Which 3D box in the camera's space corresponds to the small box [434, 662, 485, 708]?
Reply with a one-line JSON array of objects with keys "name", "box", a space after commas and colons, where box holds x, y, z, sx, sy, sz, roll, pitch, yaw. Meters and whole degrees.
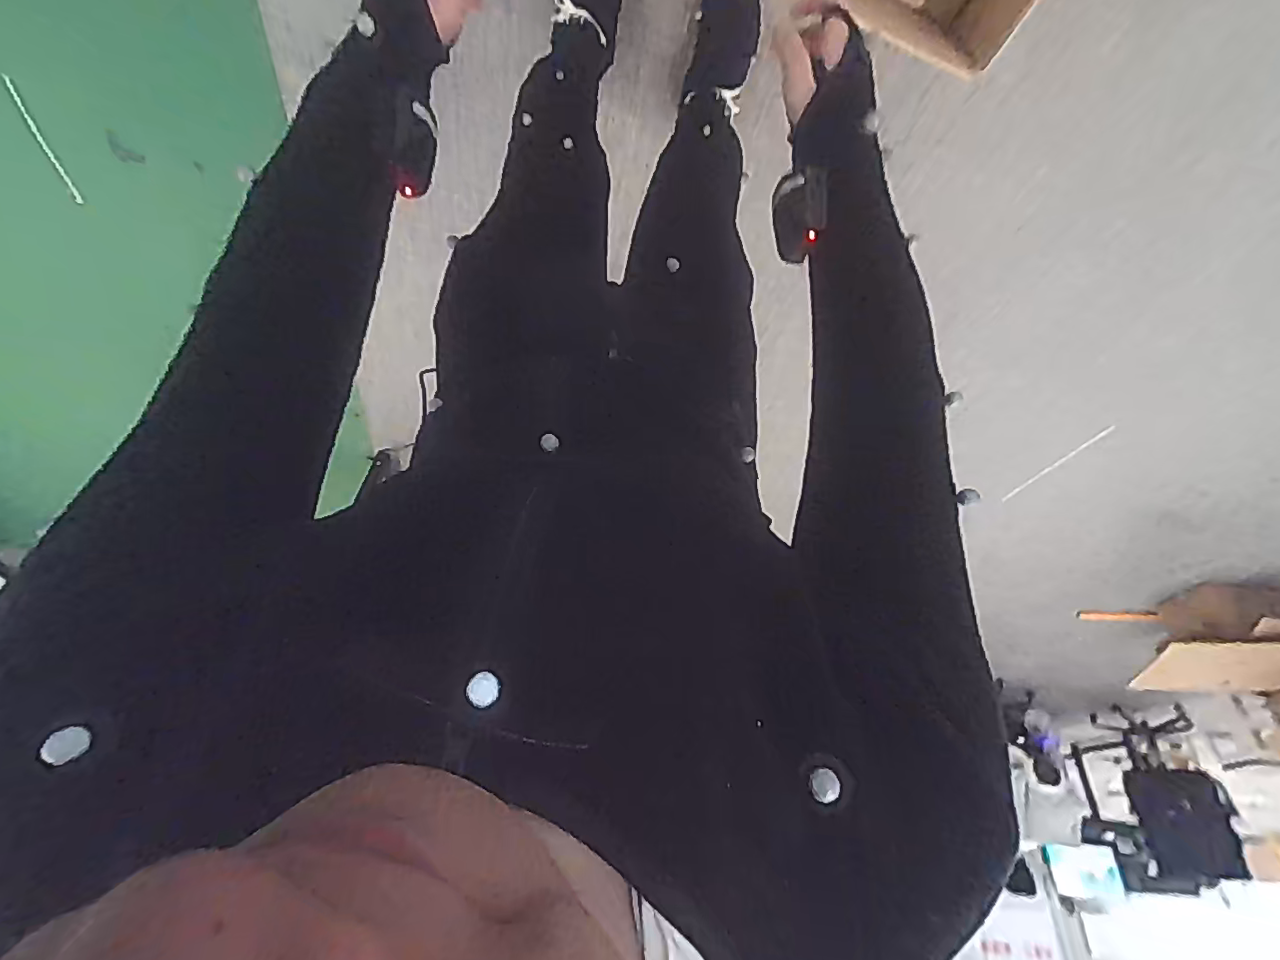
[{"name": "small box", "box": [-0.762, 0.854, 2.296, 0.168, 0.176, 0.179, 12, 145, -8]}]
